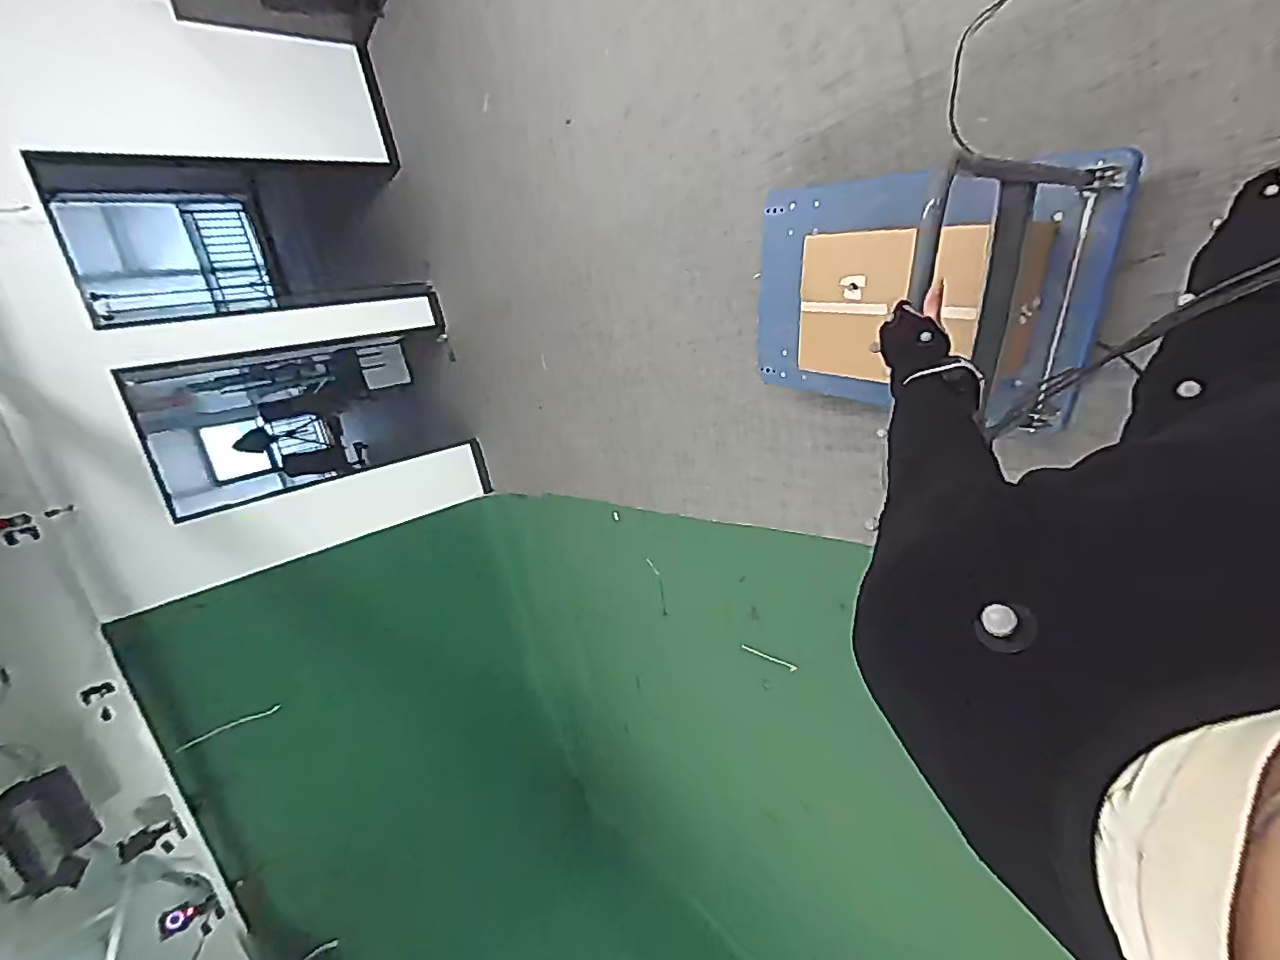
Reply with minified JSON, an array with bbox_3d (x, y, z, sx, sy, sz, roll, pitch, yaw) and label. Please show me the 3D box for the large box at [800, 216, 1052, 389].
[{"bbox_3d":[0.633,-0.415,1.240,0.408,0.320,0.320,24,125,47],"label":"large box"}]
